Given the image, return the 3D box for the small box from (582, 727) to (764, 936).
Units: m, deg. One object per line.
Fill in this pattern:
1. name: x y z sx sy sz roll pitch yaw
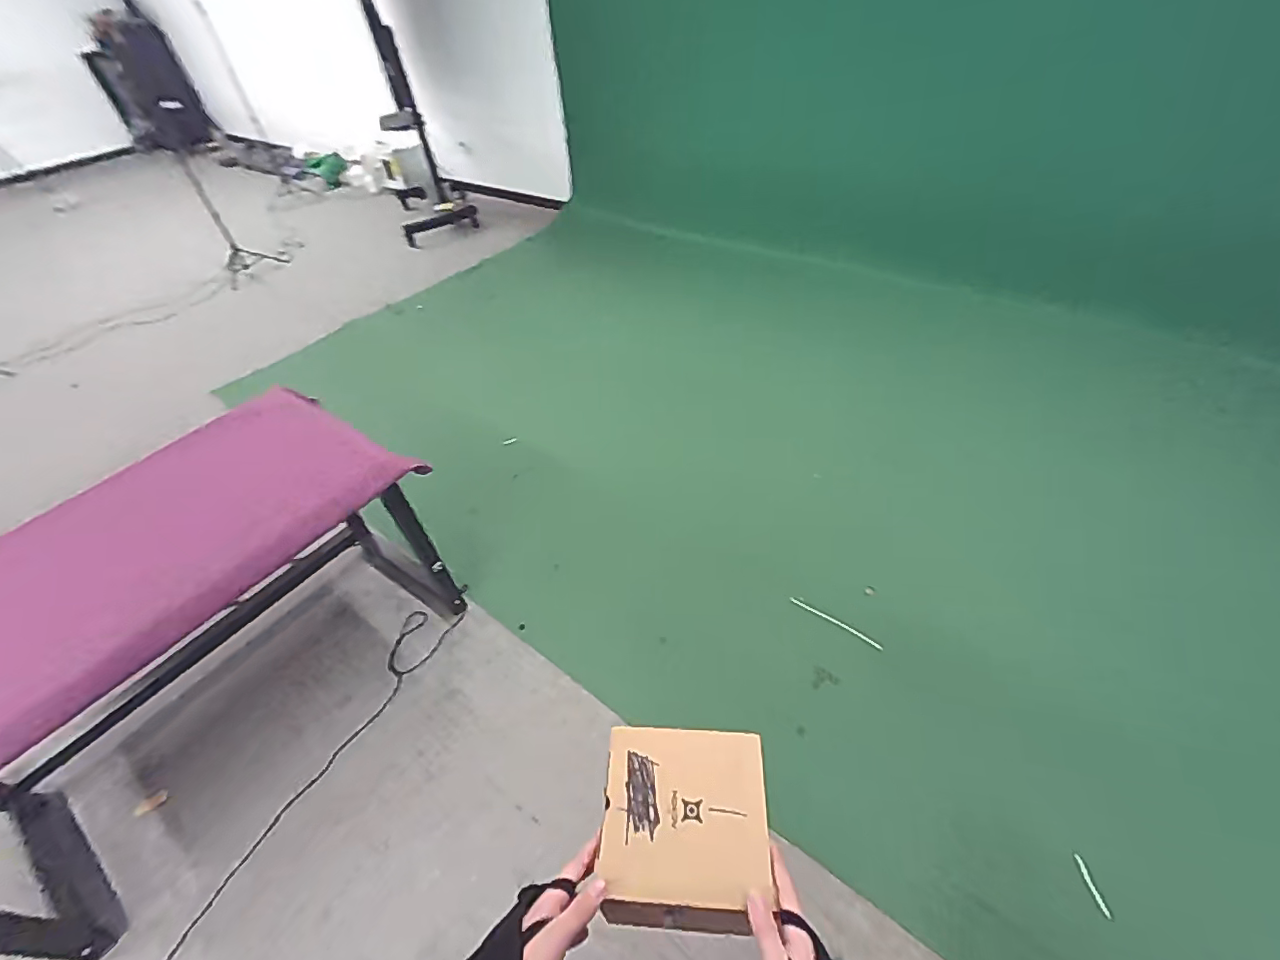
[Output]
1. small box: 0.039 0.404 0.620 0.179 0.176 0.168 1 44 4
